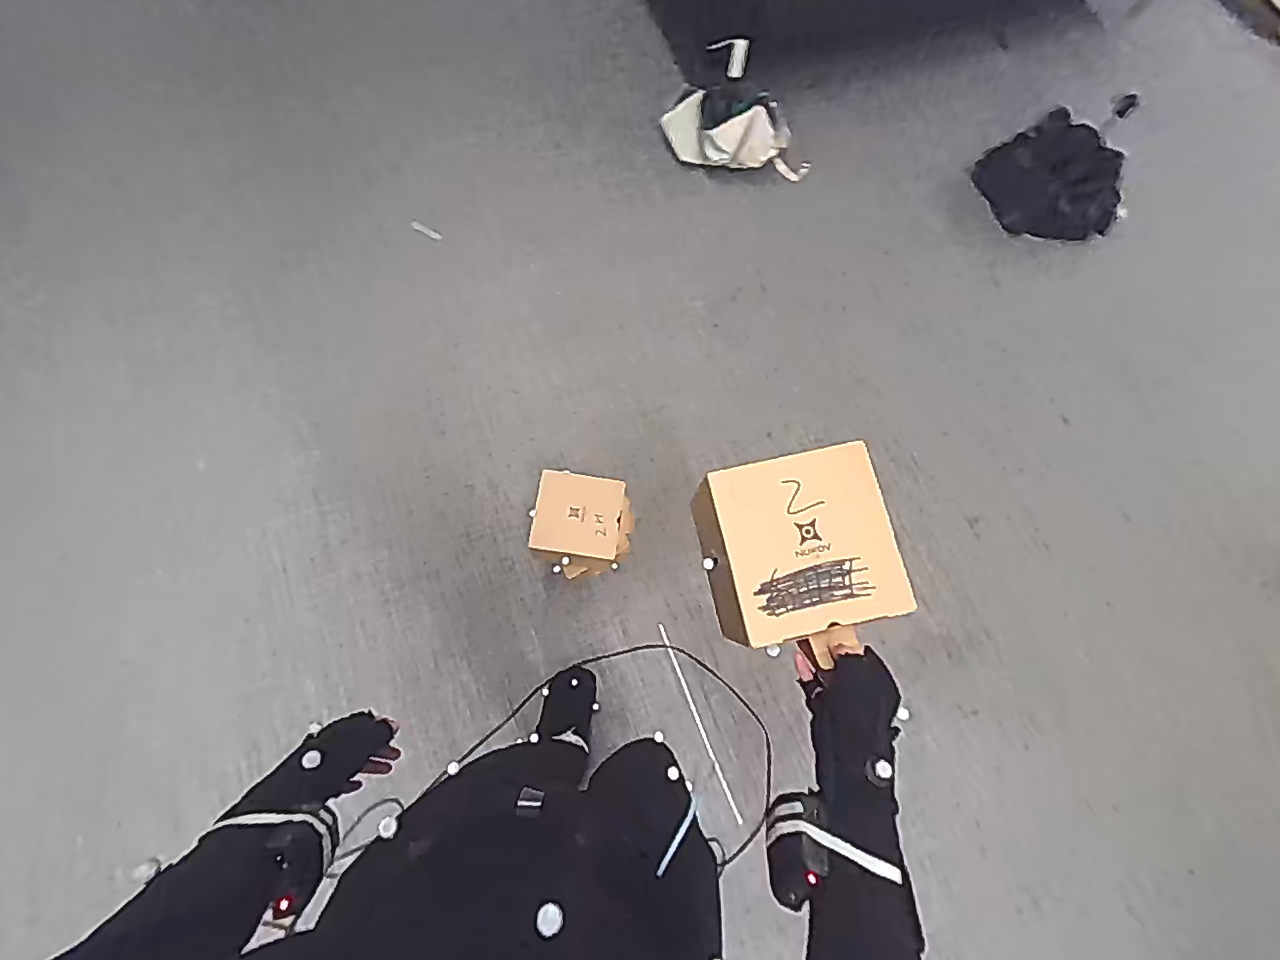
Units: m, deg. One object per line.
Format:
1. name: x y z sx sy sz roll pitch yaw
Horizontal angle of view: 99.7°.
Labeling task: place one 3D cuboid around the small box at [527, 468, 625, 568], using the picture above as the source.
1. small box: -0.136 0.088 1.163 0.179 0.176 0.168 10 72 -5

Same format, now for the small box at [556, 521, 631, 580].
1. small box: -0.136 0.131 1.306 0.168 0.176 0.179 -24 77 -14
